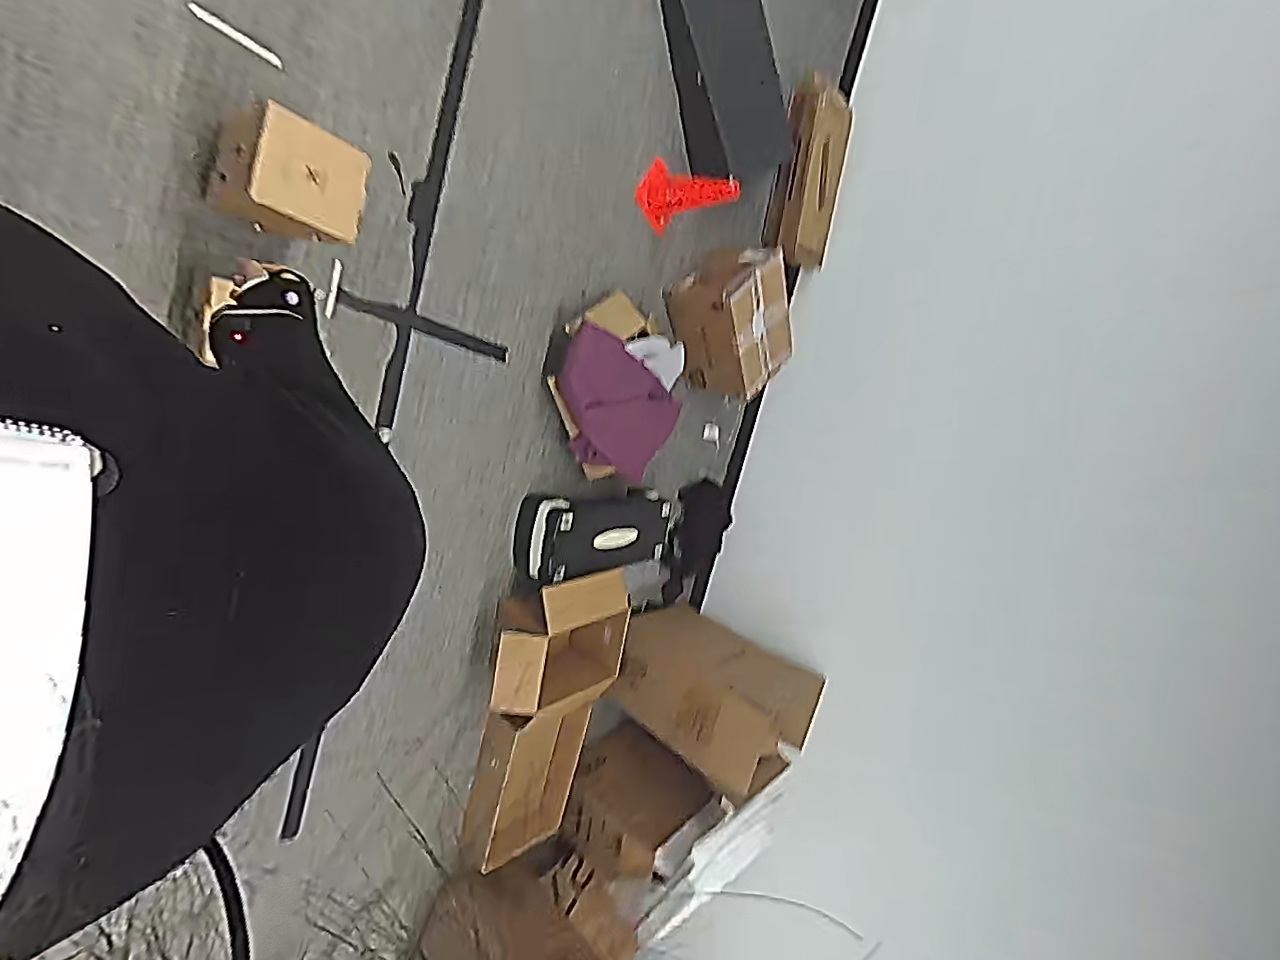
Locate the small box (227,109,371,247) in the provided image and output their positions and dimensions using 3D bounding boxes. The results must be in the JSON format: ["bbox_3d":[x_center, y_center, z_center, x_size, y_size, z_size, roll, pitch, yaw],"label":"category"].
[{"bbox_3d":[-0.654,-0.565,1.036,0.179,0.176,0.168,10,96,-50],"label":"small box"}]

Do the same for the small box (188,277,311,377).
[{"bbox_3d":[-0.849,-0.328,1.170,0.179,0.176,0.168,5,101,-50],"label":"small box"}]

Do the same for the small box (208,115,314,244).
[{"bbox_3d":[-0.775,-0.615,1.133,0.168,0.176,0.179,12,96,-51],"label":"small box"}]
